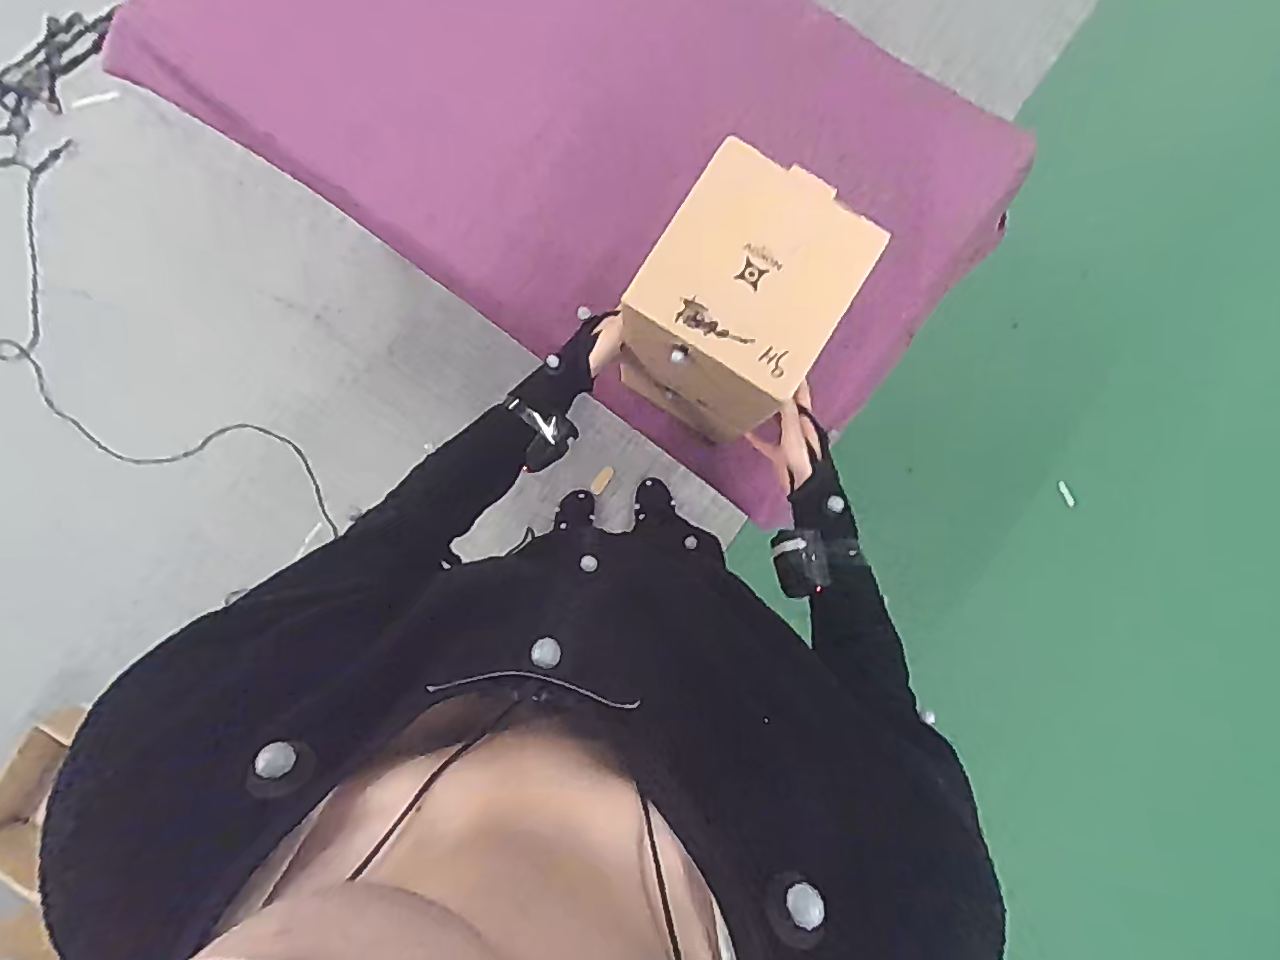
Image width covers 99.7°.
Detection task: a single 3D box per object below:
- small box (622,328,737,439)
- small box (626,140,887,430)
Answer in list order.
[{"bbox_3d":[0.092,-0.168,0.701,0.179,0.176,0.168,34,87,1],"label":"small box"},{"bbox_3d":[0.097,-0.173,0.536,0.168,0.176,0.179,33,86,2],"label":"small box"}]
